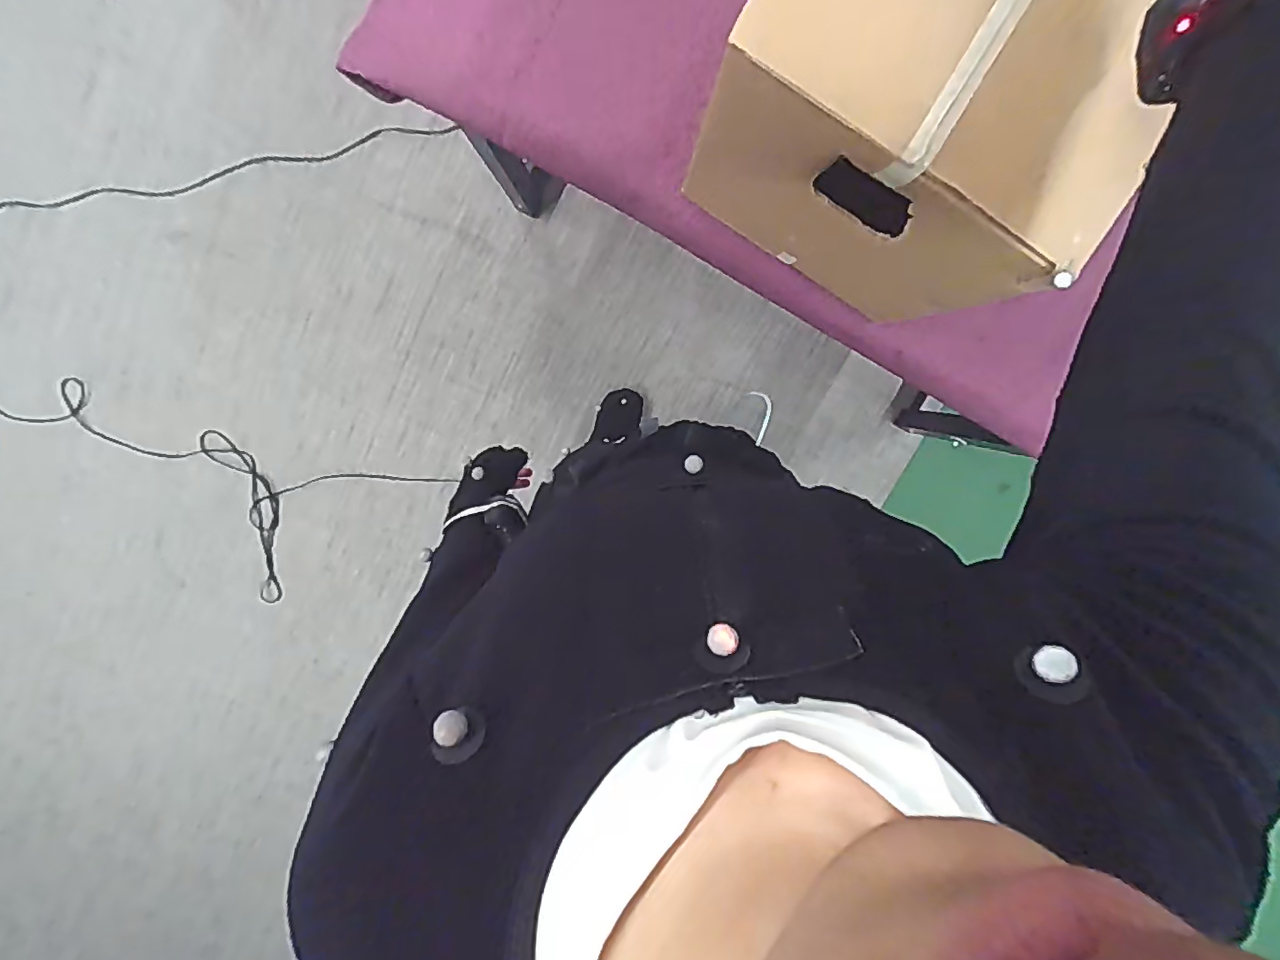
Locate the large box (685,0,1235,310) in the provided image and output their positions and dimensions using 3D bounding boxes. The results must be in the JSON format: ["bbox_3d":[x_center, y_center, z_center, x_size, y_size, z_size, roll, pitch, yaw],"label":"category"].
[{"bbox_3d":[0.286,-0.433,0.525,0.320,0.320,0.408,30,99,-7],"label":"large box"}]
